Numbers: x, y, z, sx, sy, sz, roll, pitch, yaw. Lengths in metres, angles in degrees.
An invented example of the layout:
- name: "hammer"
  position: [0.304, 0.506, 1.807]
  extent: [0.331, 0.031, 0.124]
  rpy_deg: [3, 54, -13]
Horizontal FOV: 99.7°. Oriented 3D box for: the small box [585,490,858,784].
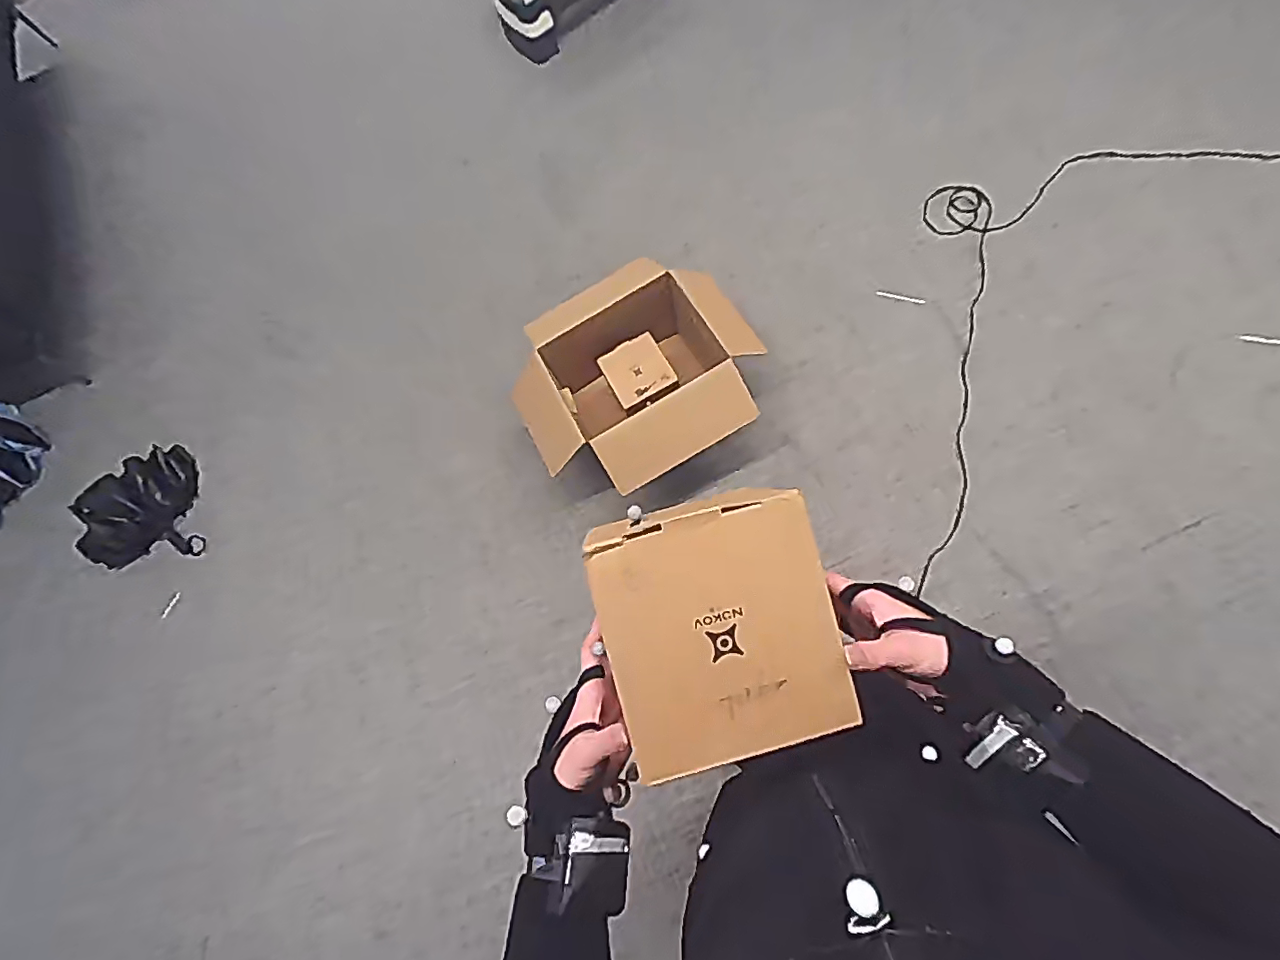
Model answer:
- name: "small box"
  position: [0.053, 0.111, 0.461]
  extent: [0.168, 0.176, 0.179]
  rpy_deg: [-15, 91, -3]
